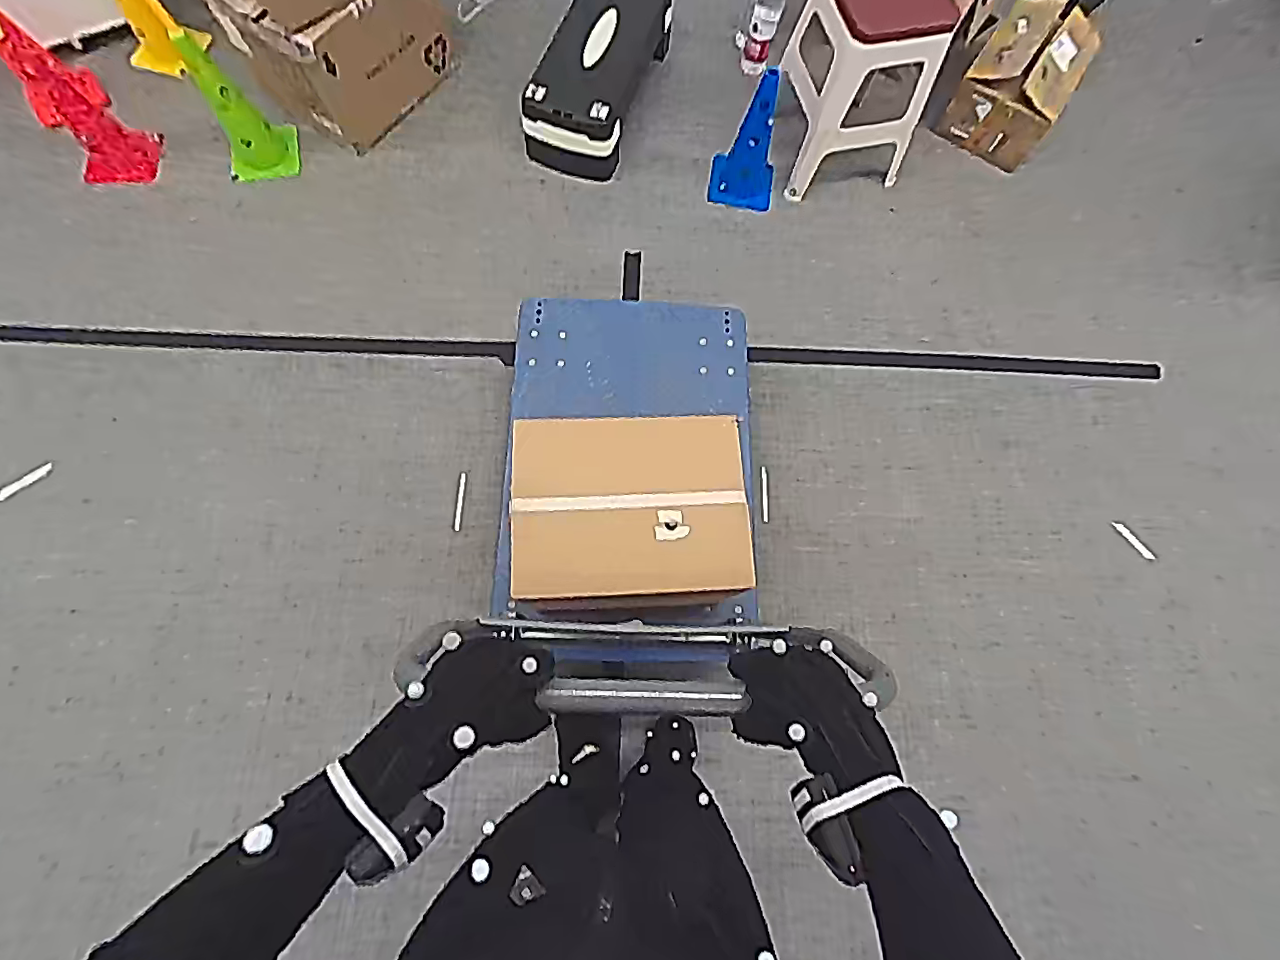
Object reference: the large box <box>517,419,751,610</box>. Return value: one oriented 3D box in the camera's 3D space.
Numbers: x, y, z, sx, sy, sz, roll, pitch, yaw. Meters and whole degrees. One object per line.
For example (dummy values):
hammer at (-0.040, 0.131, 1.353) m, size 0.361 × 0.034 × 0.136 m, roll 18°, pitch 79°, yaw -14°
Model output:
large box at (-0.027, 0.083, 1.091) m, size 0.408 × 0.320 × 0.320 m, roll -1°, pitch 74°, yaw -5°
